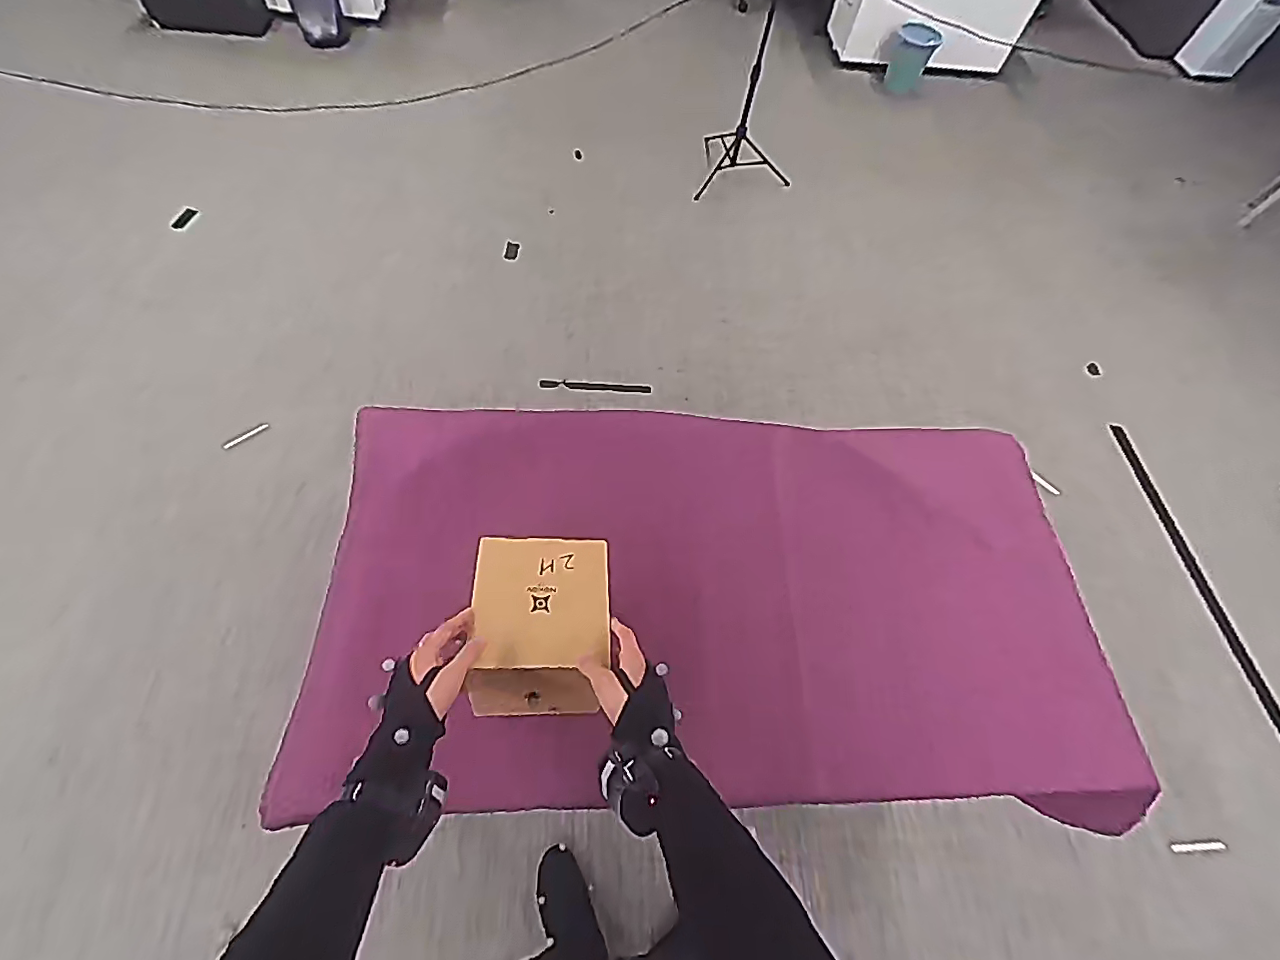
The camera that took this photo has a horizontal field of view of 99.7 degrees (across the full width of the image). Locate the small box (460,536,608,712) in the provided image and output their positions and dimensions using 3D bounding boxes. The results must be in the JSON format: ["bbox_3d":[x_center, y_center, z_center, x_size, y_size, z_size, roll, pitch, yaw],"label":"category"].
[{"bbox_3d":[-0.132,0.194,0.711,0.168,0.176,0.179,3,48,-9],"label":"small box"}]
